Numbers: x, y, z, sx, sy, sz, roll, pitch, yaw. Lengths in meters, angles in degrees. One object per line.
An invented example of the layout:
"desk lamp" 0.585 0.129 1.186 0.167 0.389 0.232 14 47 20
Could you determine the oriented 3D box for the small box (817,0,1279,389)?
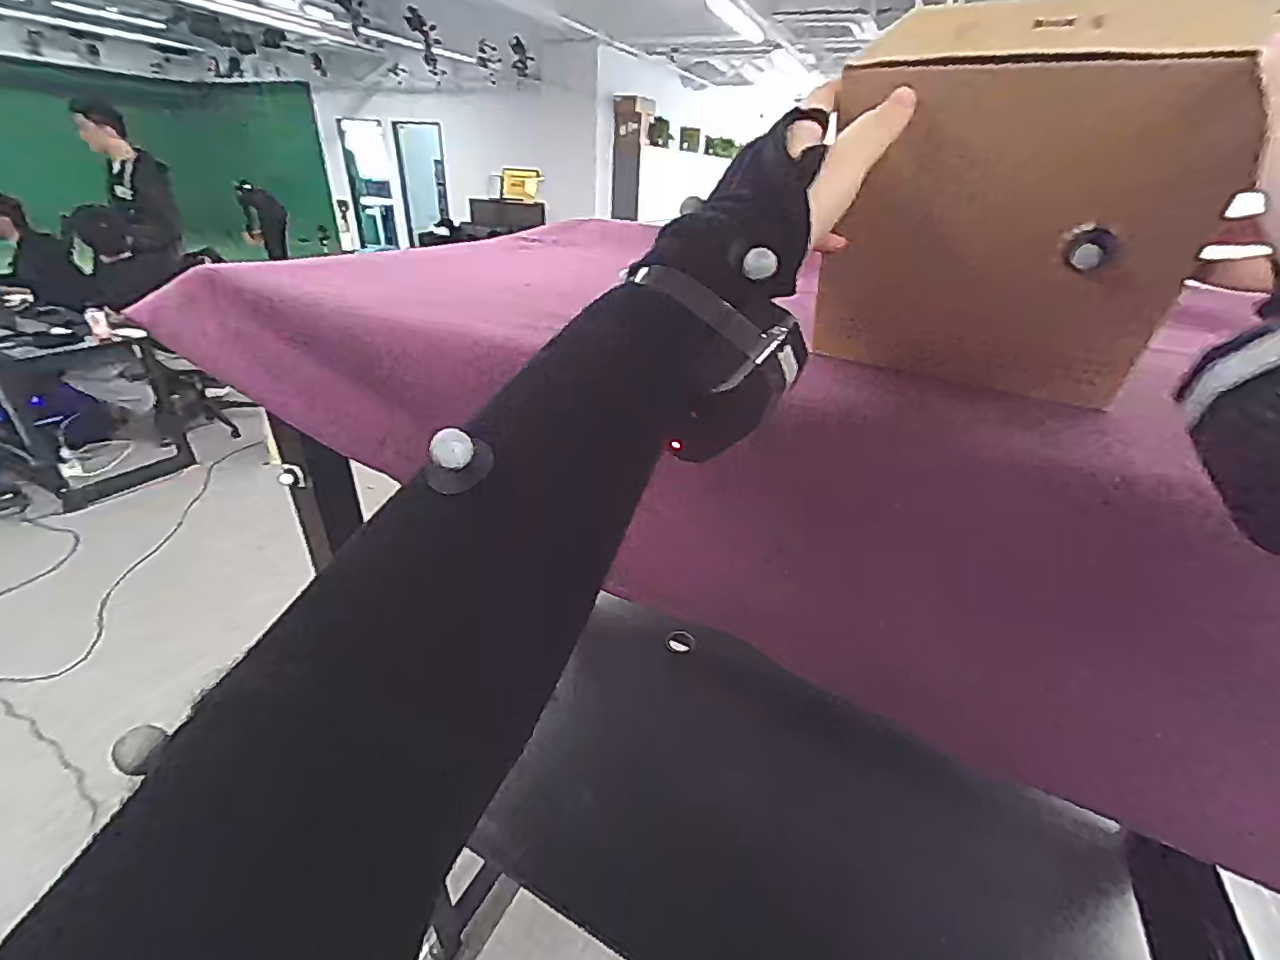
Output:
"small box" 0.226 -0.177 0.331 0.179 0.176 0.168 19 51 26
